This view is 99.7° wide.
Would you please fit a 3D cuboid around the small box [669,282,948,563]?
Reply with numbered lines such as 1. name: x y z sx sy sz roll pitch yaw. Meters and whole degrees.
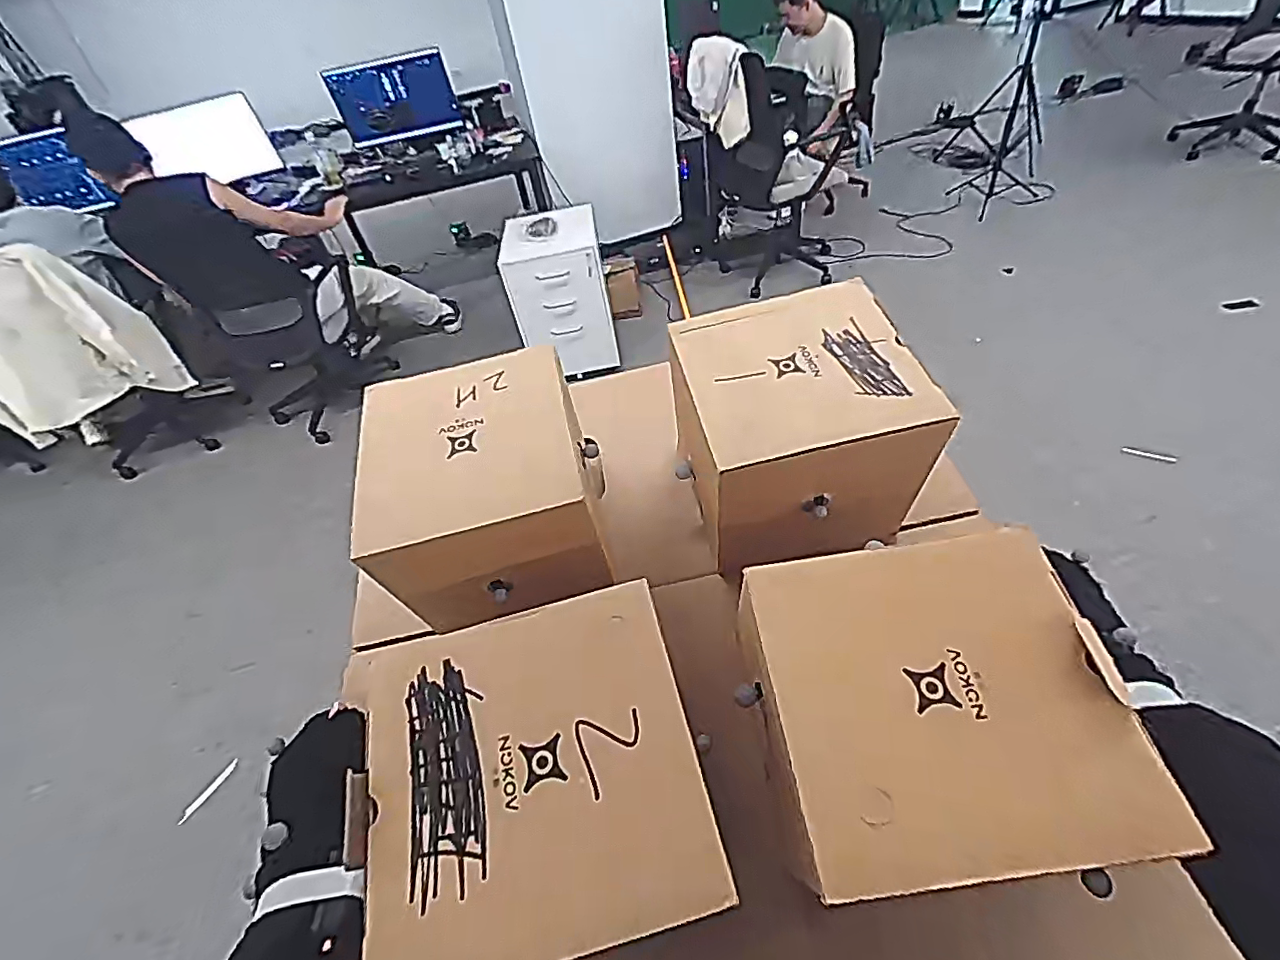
1. small box: 0.130 -0.044 0.490 0.179 0.176 0.168 -12 55 1

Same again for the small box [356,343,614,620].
1. small box: -0.126 0.012 0.490 0.168 0.176 0.179 -14 54 -2
